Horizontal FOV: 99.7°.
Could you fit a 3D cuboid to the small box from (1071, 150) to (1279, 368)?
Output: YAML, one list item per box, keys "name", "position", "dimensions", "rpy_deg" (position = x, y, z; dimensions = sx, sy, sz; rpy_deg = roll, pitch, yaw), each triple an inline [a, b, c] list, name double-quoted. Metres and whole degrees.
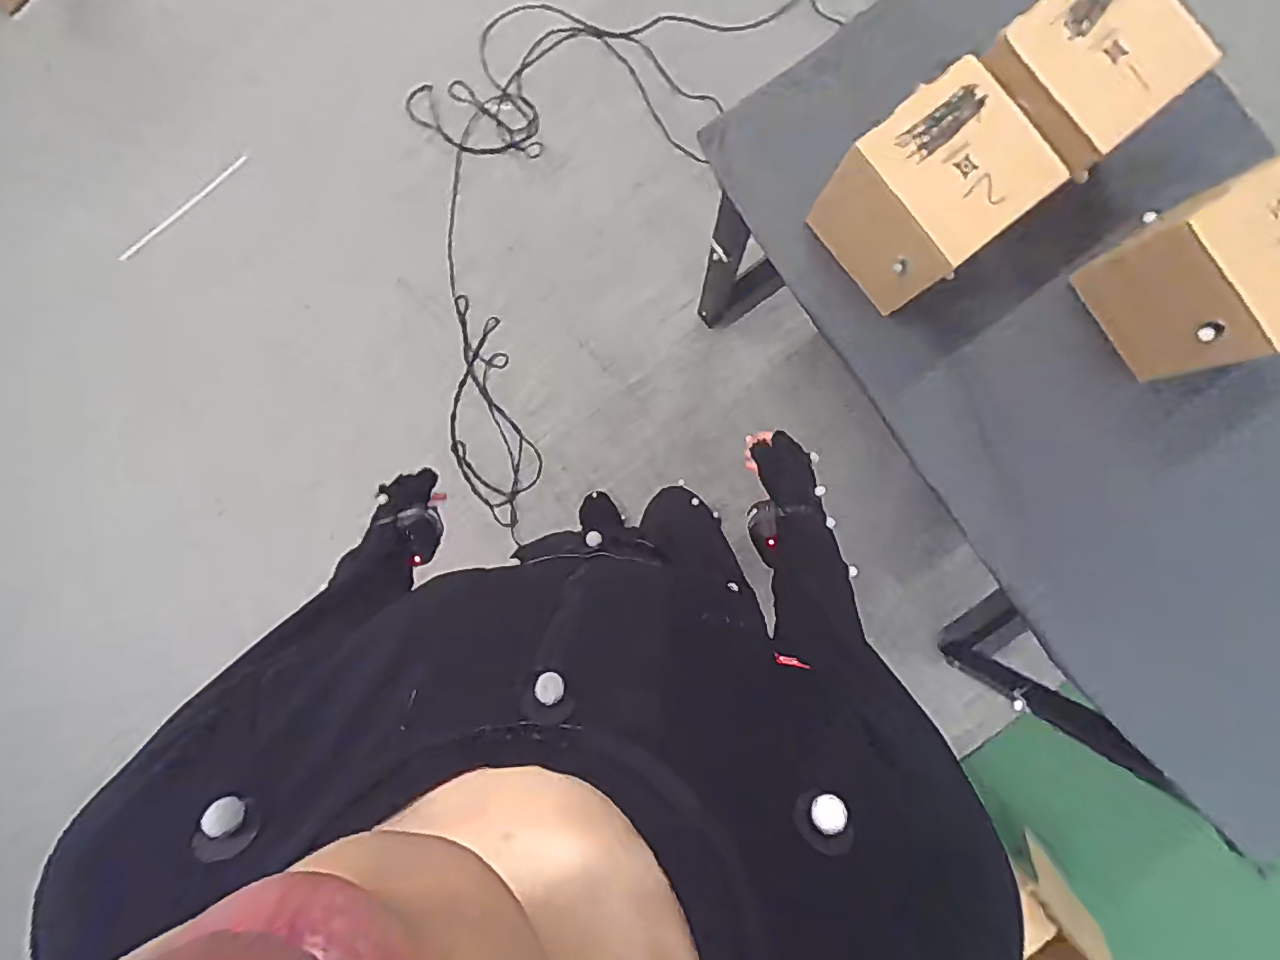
- name: "small box"
  position: [0.690, -0.252, 0.651]
  dimensions: [0.168, 0.176, 0.179]
  rpy_deg: [-34, 89, 1]
